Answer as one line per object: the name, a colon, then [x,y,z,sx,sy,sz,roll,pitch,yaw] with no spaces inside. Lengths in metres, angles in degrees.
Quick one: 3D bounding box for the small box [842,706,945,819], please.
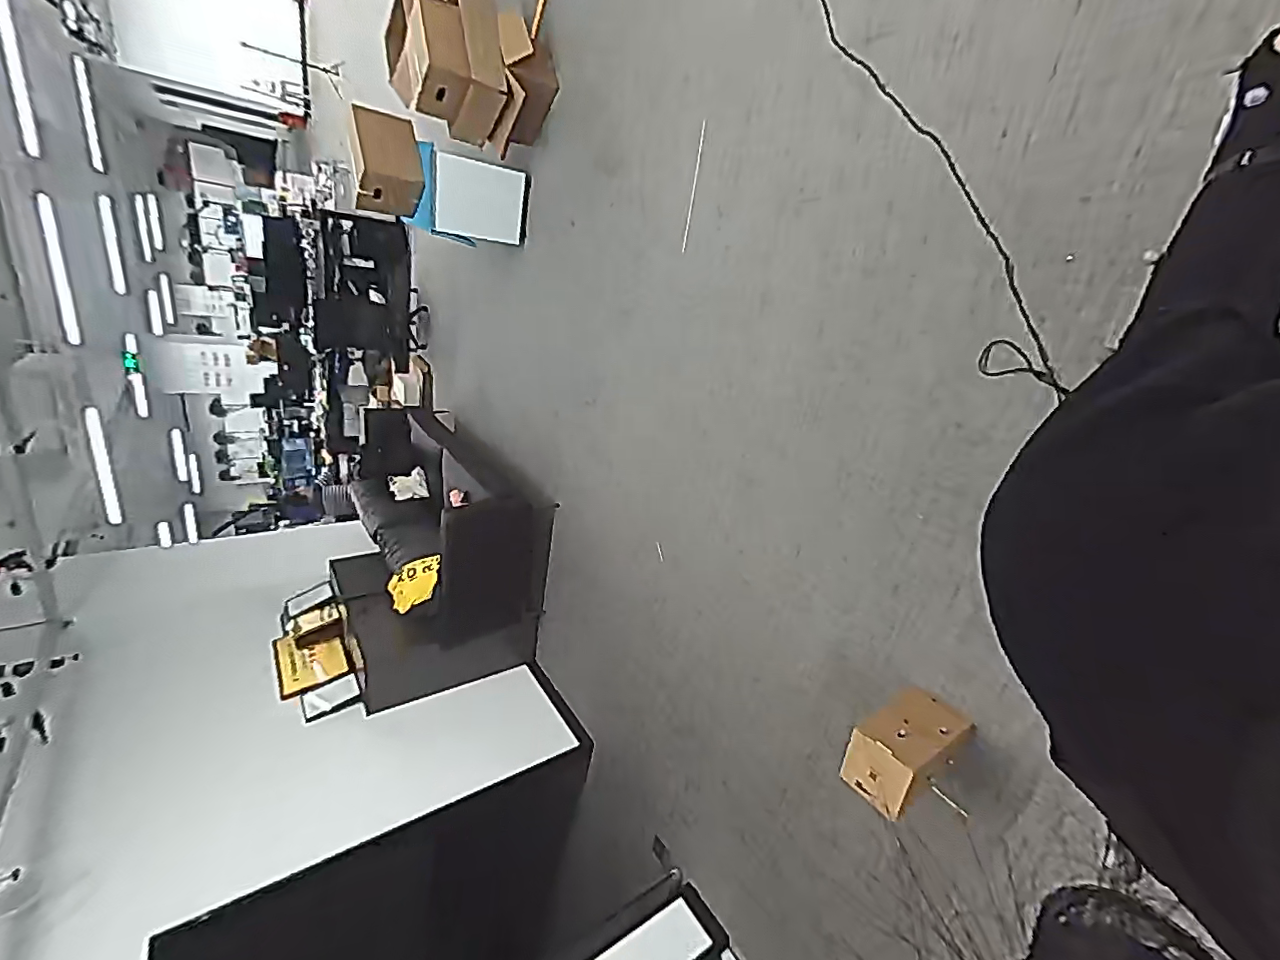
small box: [0.673,0.737,1.431,0.168,0.176,0.179,31,120,48]
